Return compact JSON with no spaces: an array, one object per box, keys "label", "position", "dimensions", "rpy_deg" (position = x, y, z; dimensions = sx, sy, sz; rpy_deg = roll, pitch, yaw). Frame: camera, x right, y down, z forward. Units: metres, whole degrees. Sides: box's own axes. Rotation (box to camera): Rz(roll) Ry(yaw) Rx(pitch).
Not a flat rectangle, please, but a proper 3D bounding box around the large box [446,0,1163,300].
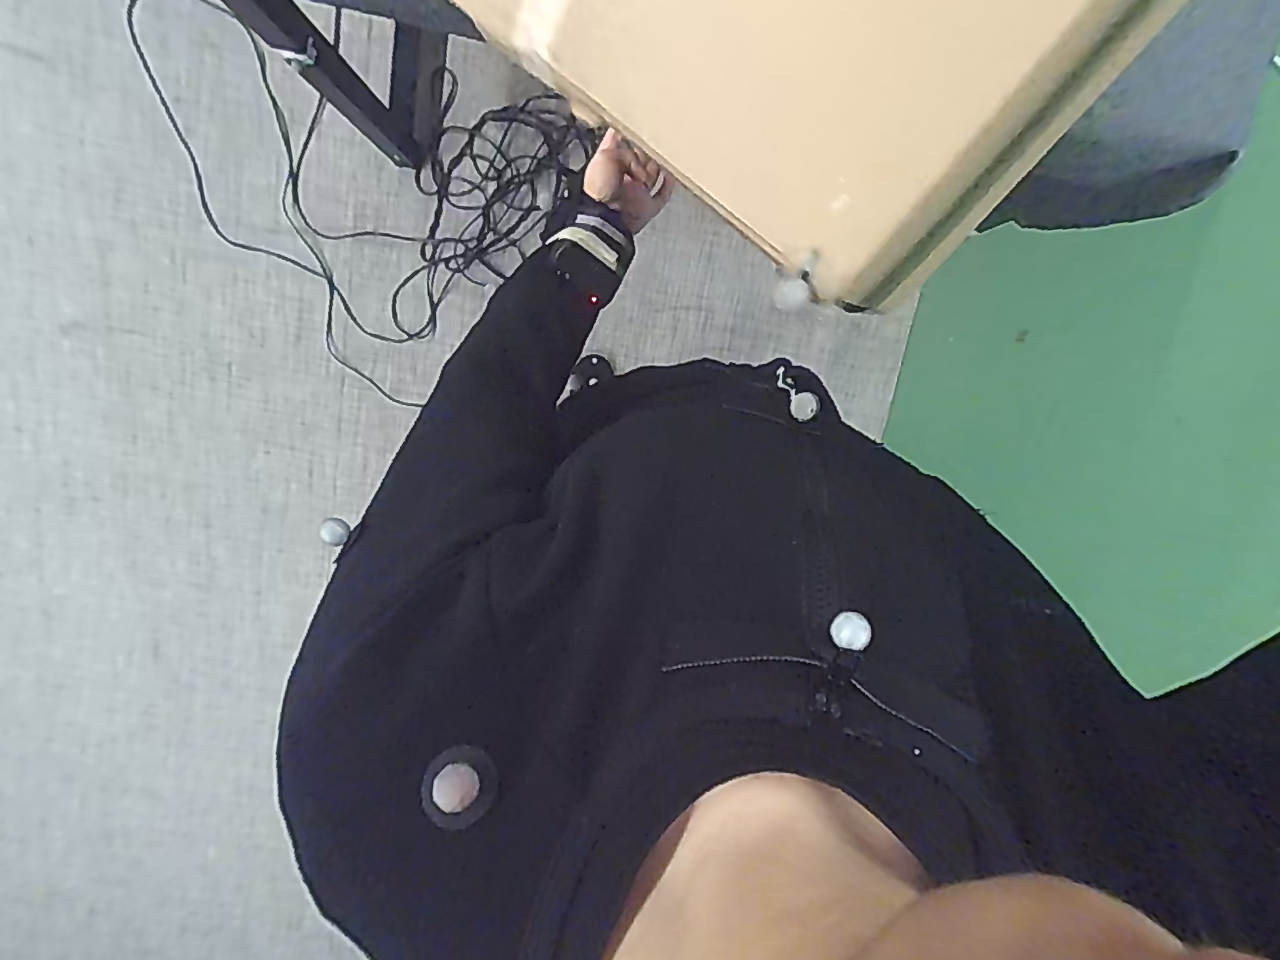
[{"label":"large box","position":[0.146,-0.350,0.265],"dimensions":[0.320,0.320,0.408],"rpy_deg":[43,121,12]}]
